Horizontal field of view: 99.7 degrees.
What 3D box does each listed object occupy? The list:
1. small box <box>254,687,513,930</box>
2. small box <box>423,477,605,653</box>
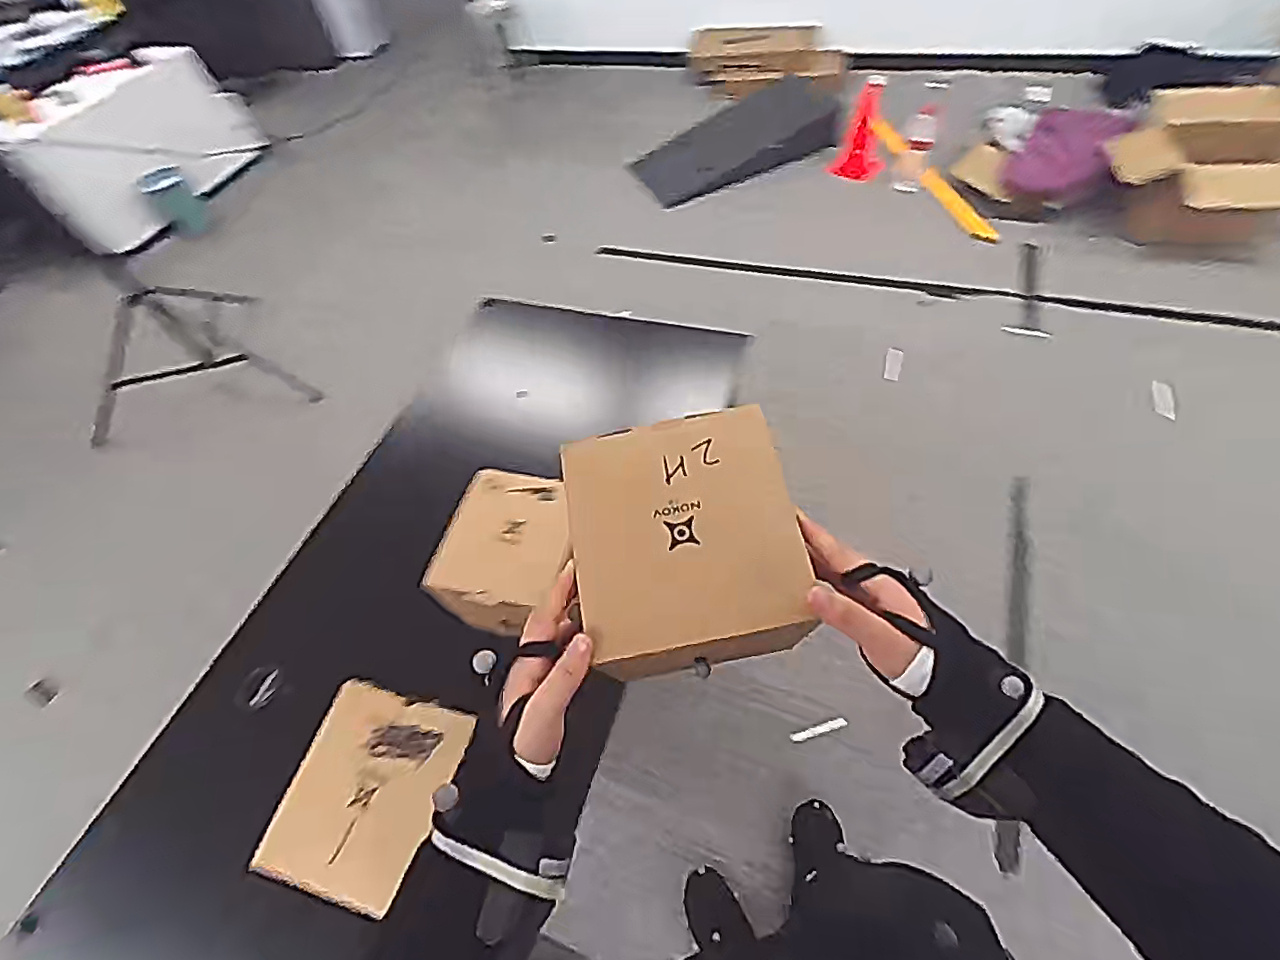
[{"bbox_3d":[-0.261,0.357,0.604,0.168,0.176,0.179,9,59,14],"label":"small box"},{"bbox_3d":[-0.157,0.122,0.750,0.168,0.176,0.179,9,59,14],"label":"small box"}]
